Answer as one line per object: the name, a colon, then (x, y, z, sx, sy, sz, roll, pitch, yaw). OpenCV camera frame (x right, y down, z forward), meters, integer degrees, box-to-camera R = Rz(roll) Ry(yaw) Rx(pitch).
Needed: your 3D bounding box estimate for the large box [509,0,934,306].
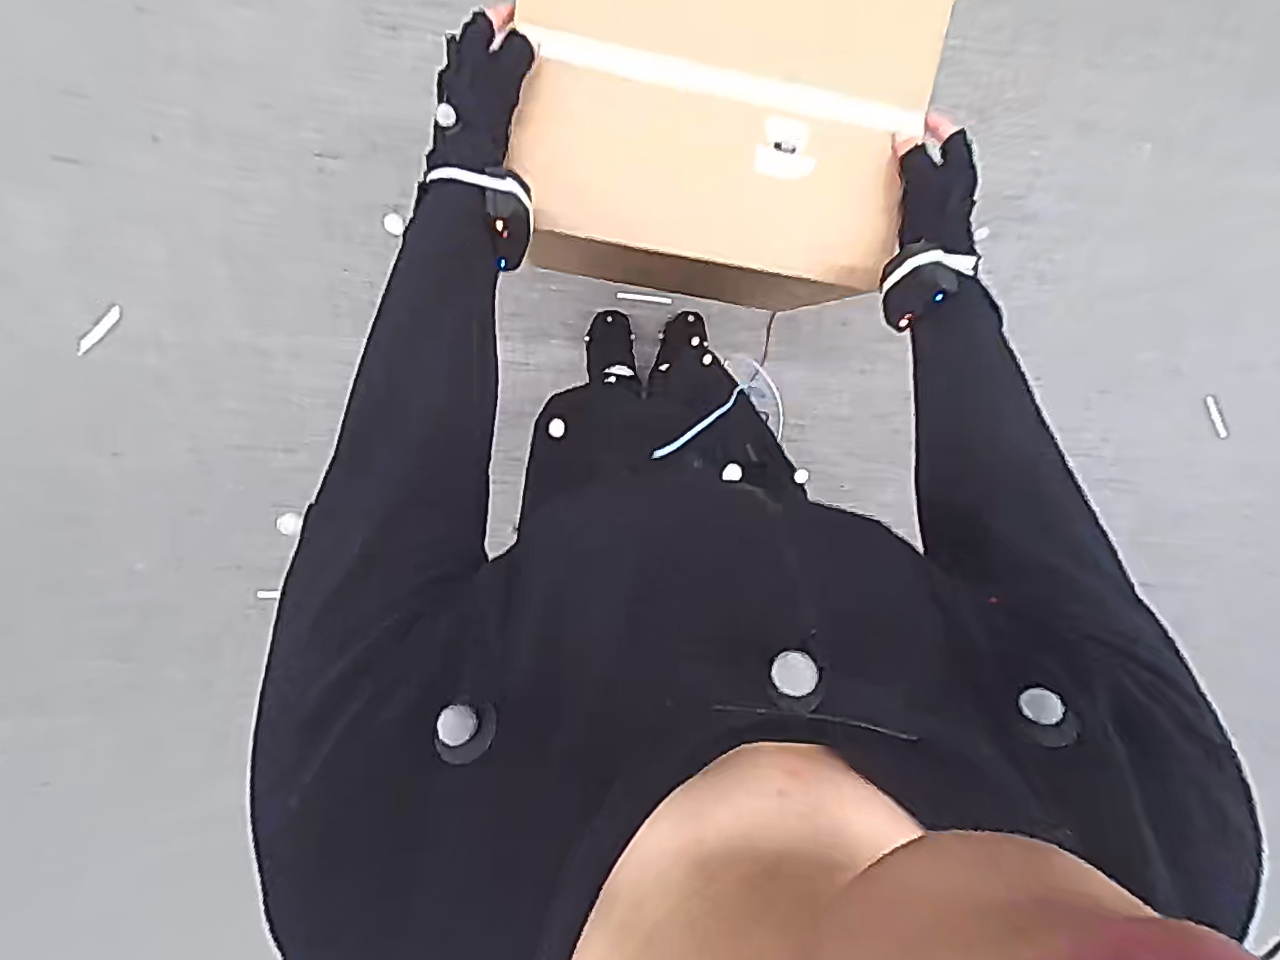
large box: (0.065, -0.418, 0.682, 0.408, 0.320, 0.320, 7, 103, -8)
